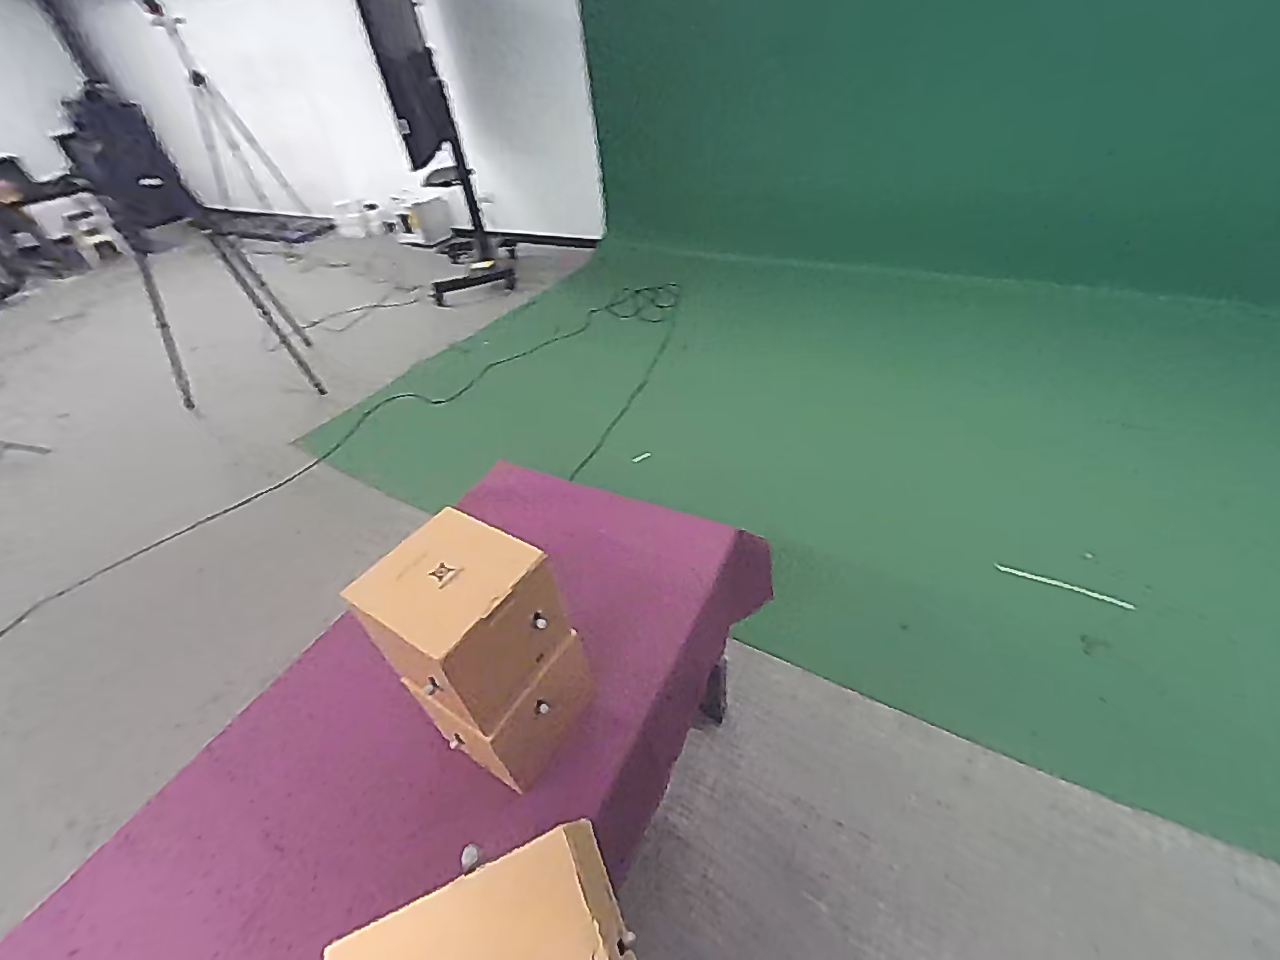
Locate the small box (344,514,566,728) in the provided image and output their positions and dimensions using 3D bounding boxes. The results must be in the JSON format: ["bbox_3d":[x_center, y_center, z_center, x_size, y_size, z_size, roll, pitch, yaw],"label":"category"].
[{"bbox_3d":[-0.216,0.177,0.677,0.179,0.176,0.168,18,46,30],"label":"small box"}]

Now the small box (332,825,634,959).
[{"bbox_3d":[-0.100,0.394,0.416,0.179,0.176,0.168,-21,60,-11],"label":"small box"}]

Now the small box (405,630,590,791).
[{"bbox_3d":[-0.190,0.303,0.777,0.168,0.176,0.179,19,47,28],"label":"small box"}]
